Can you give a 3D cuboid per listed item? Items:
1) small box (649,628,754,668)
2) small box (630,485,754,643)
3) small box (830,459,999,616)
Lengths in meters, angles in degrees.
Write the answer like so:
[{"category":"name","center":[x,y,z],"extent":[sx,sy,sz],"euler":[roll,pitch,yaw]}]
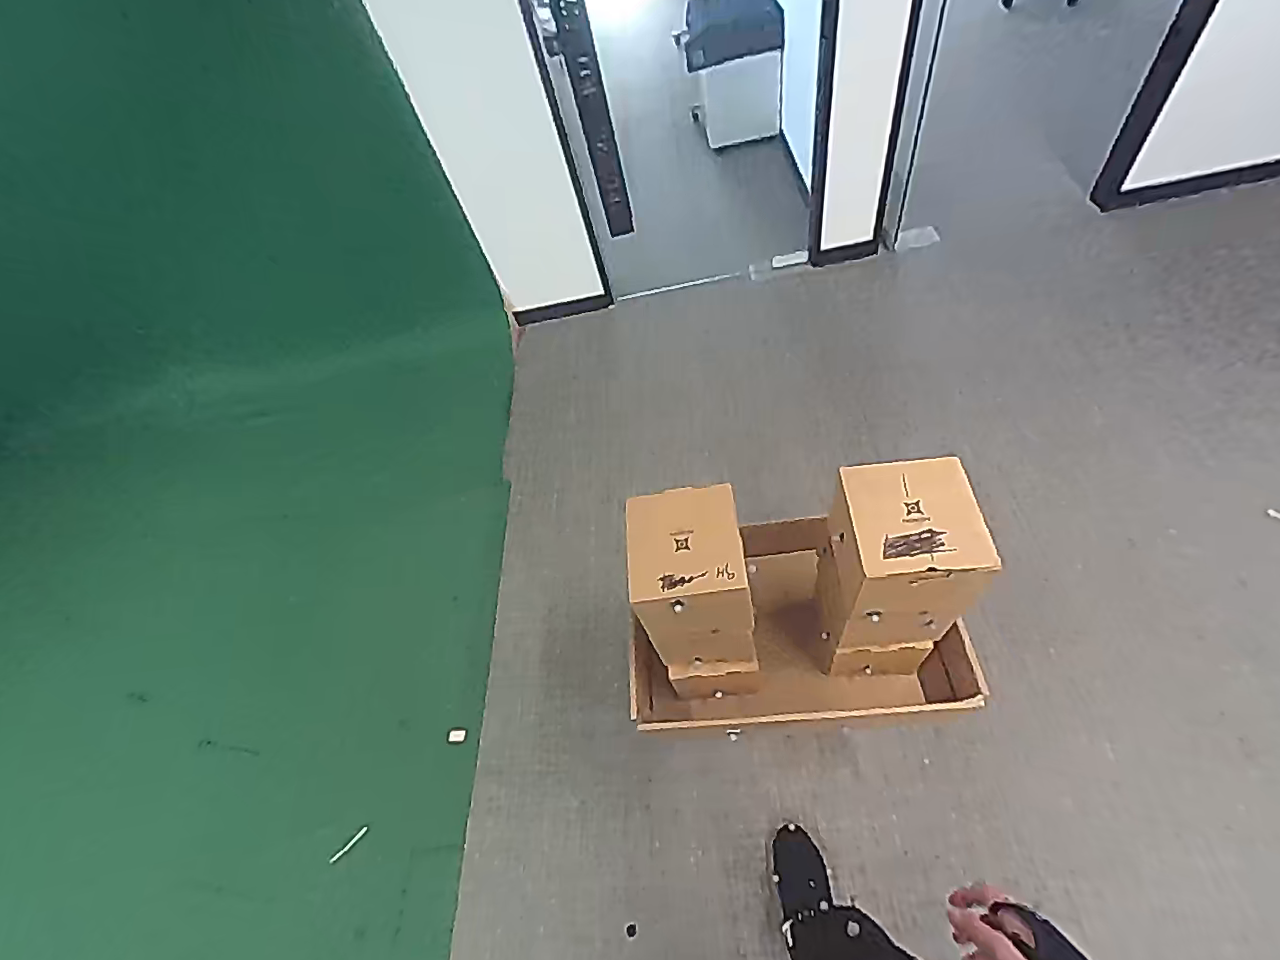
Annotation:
[{"category":"small box","center":[0.114,0.226,0.973],"extent":[0.168,0.176,0.179],"euler":[-6,54,11]},{"category":"small box","center":[0.081,0.134,0.842],"extent":[0.168,0.176,0.179],"euler":[-9,52,9]},{"category":"small box","center":[0.383,0.093,0.793],"extent":[0.168,0.176,0.179],"euler":[-5,54,9]}]
